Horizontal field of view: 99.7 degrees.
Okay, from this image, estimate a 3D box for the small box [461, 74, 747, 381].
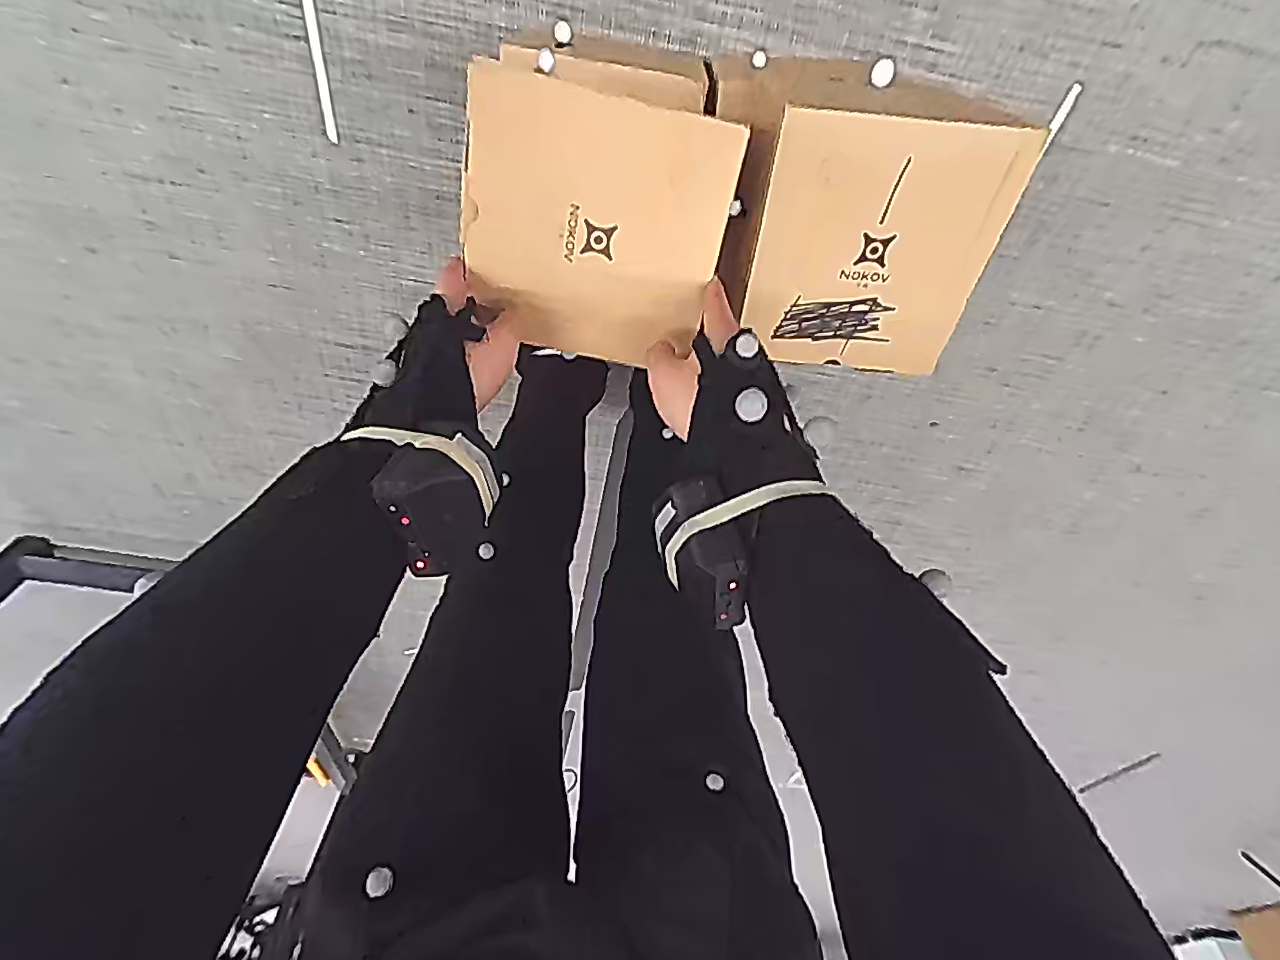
[{"bbox_3d":[-0.030,-0.200,0.438,0.179,0.176,0.168,11,120,-4],"label":"small box"}]
